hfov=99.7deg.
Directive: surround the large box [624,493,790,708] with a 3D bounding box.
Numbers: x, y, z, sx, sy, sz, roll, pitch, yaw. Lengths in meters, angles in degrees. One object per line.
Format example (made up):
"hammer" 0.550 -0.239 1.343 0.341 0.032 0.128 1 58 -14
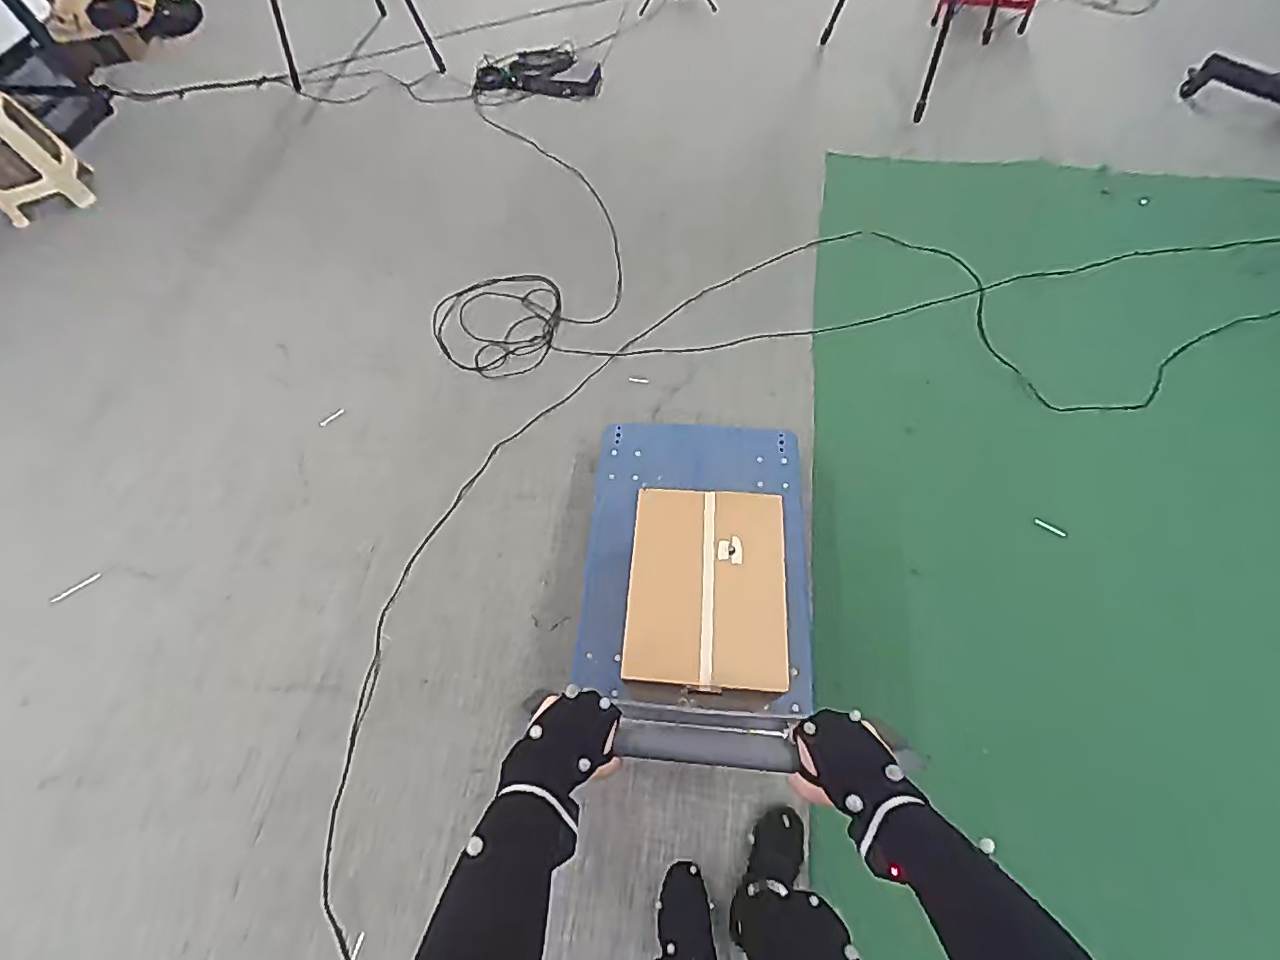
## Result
"large box" 0.144 0.280 1.224 0.320 0.320 0.408 3 61 4
